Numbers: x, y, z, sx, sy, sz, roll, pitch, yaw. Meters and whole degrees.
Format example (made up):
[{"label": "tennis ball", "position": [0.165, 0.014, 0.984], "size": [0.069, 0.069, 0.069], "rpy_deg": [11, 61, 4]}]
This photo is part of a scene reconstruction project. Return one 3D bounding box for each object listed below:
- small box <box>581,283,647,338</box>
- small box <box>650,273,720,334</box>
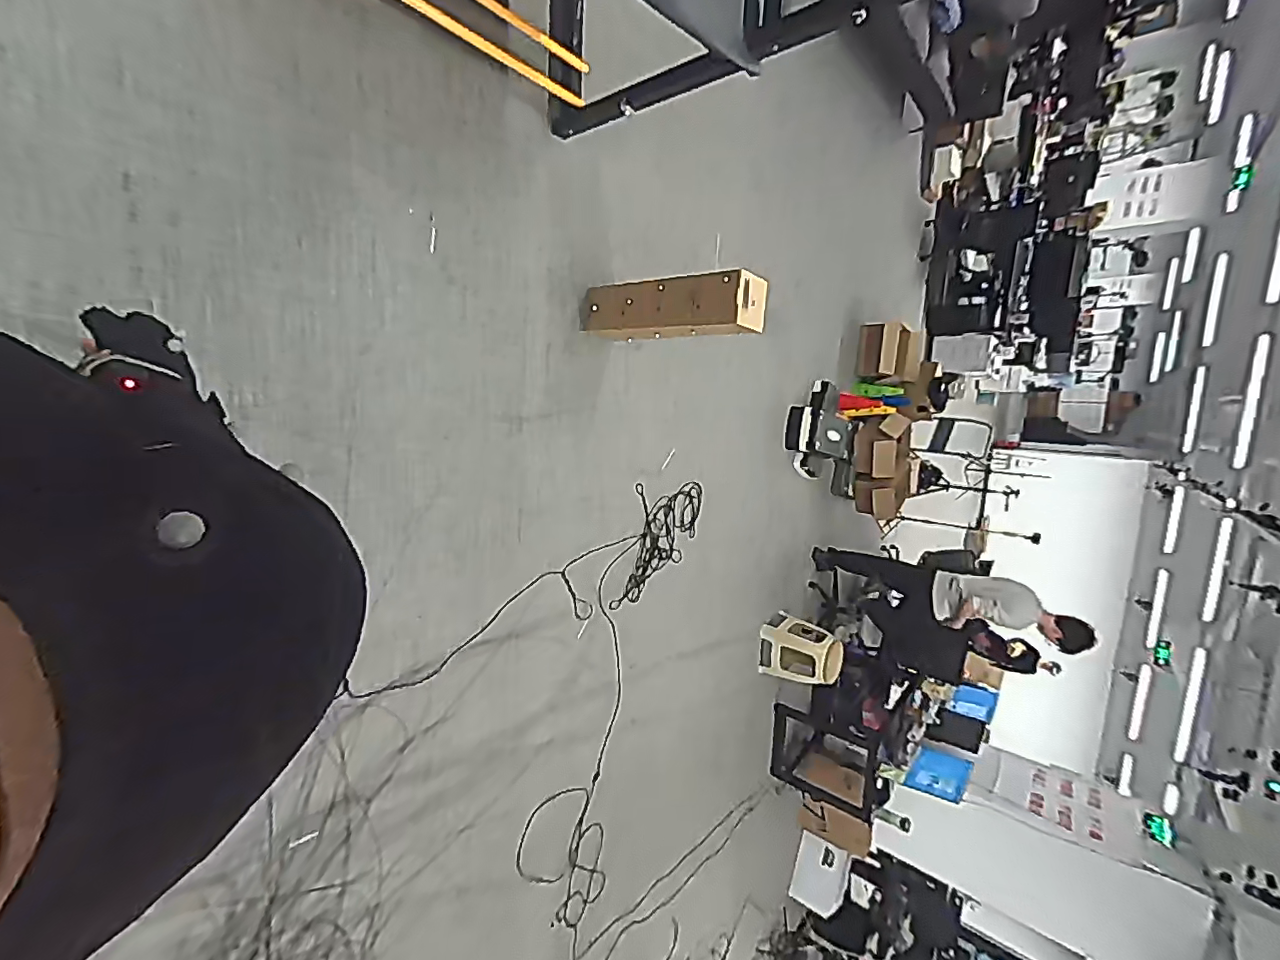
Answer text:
[{"label": "small box", "position": [-0.099, -0.642, 2.065], "size": [0.179, 0.176, 0.168], "rpy_deg": [1, 96, -51]}, {"label": "small box", "position": [0.154, -0.600, 1.863], "size": [0.179, 0.176, 0.168], "rpy_deg": [-2, 100, -51]}]
